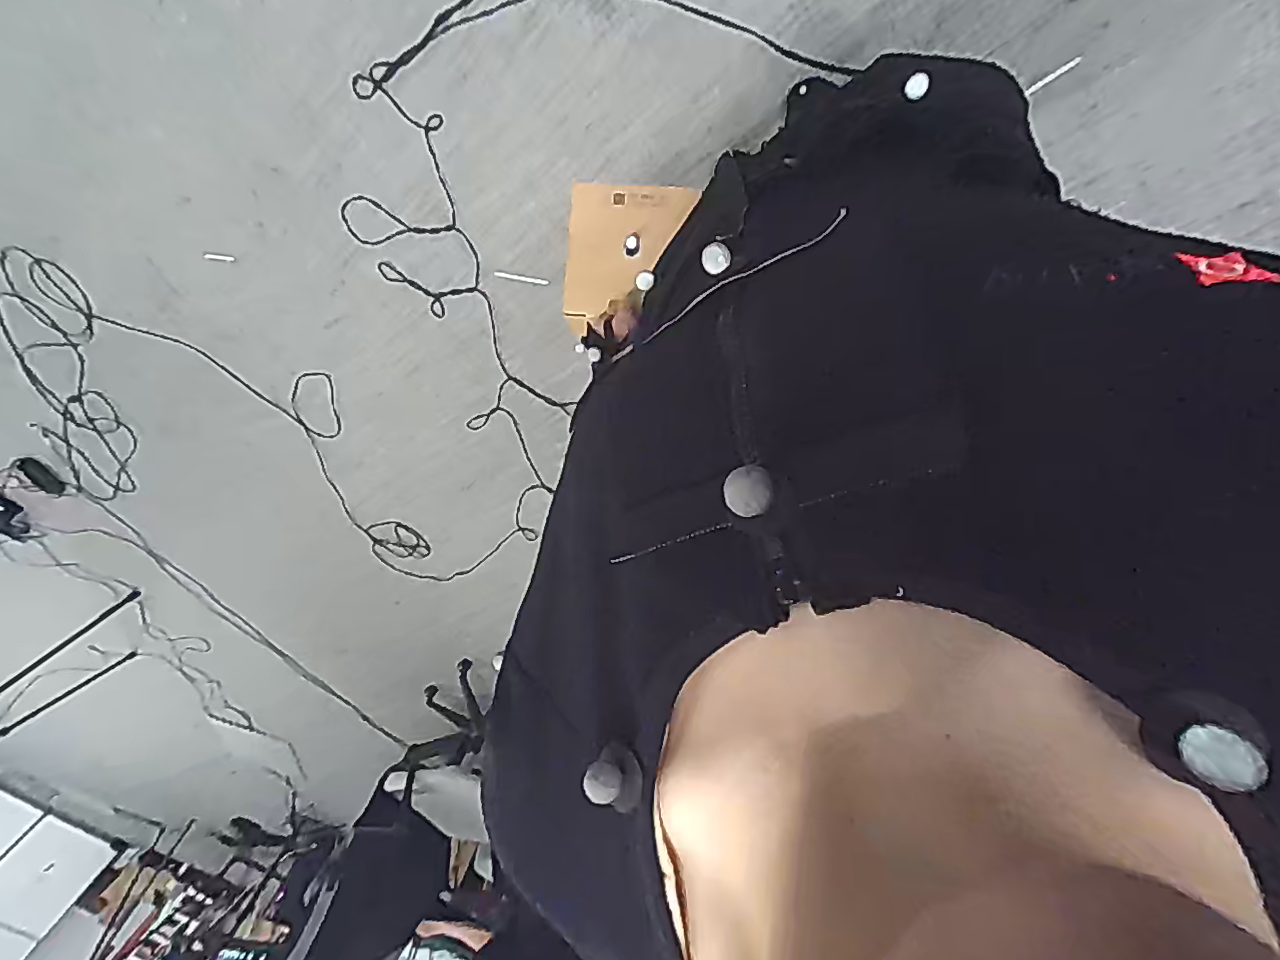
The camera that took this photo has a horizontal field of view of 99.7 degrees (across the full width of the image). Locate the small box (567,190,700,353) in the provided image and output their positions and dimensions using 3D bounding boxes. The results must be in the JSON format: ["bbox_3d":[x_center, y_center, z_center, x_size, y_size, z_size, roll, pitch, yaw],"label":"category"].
[{"bbox_3d":[-0.005,-0.288,0.768,0.168,0.179,0.176,5,91,3],"label":"small box"}]
